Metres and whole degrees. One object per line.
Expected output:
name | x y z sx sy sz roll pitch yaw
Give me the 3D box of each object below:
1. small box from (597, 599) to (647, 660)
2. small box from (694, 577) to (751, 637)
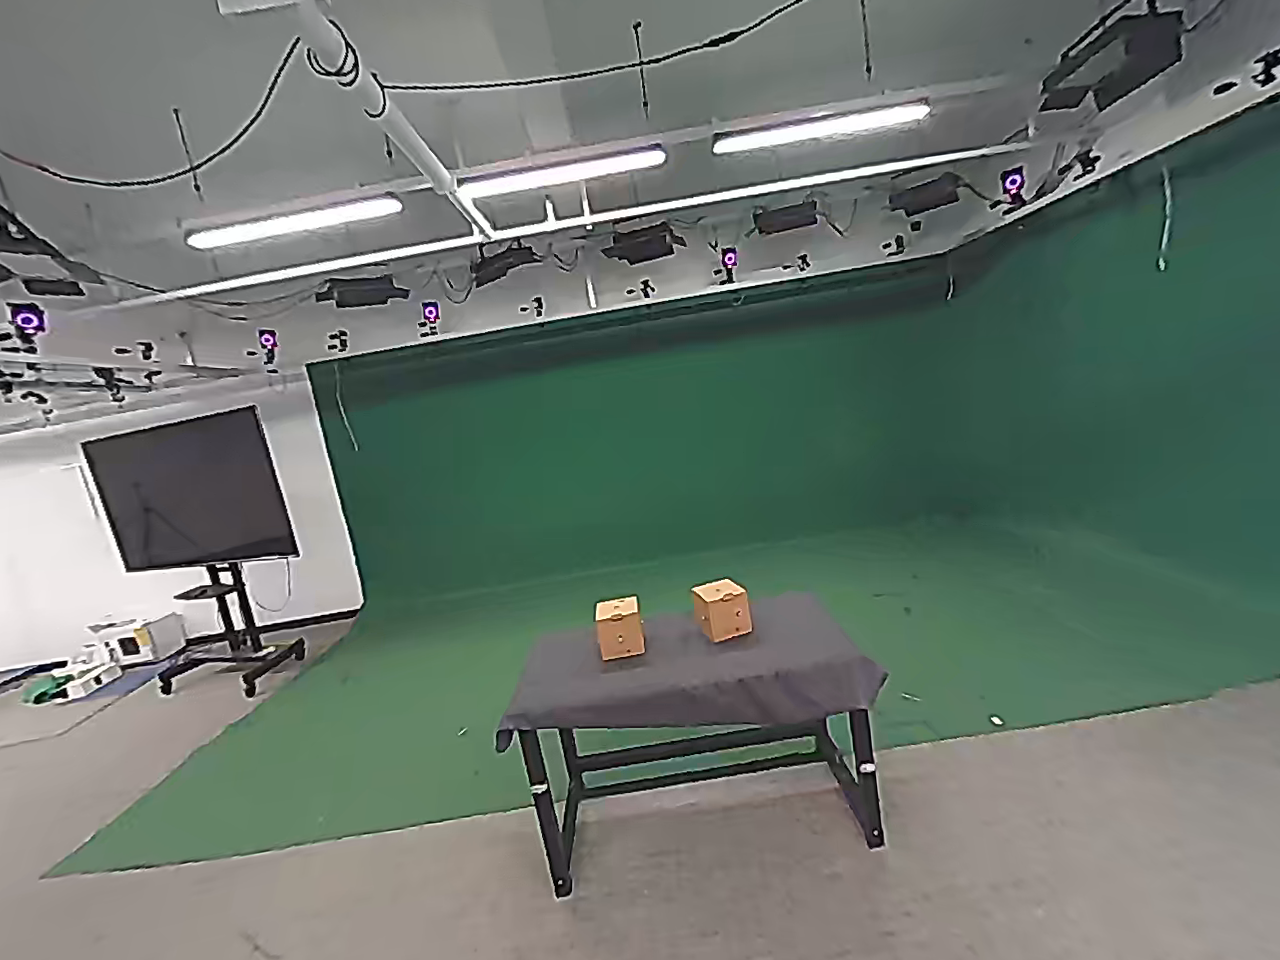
small box | -0.070 0.592 2.127 0.168 0.176 0.179 -12 8 -4
small box | 0.324 0.503 2.128 0.168 0.176 0.179 -9 8 -13
